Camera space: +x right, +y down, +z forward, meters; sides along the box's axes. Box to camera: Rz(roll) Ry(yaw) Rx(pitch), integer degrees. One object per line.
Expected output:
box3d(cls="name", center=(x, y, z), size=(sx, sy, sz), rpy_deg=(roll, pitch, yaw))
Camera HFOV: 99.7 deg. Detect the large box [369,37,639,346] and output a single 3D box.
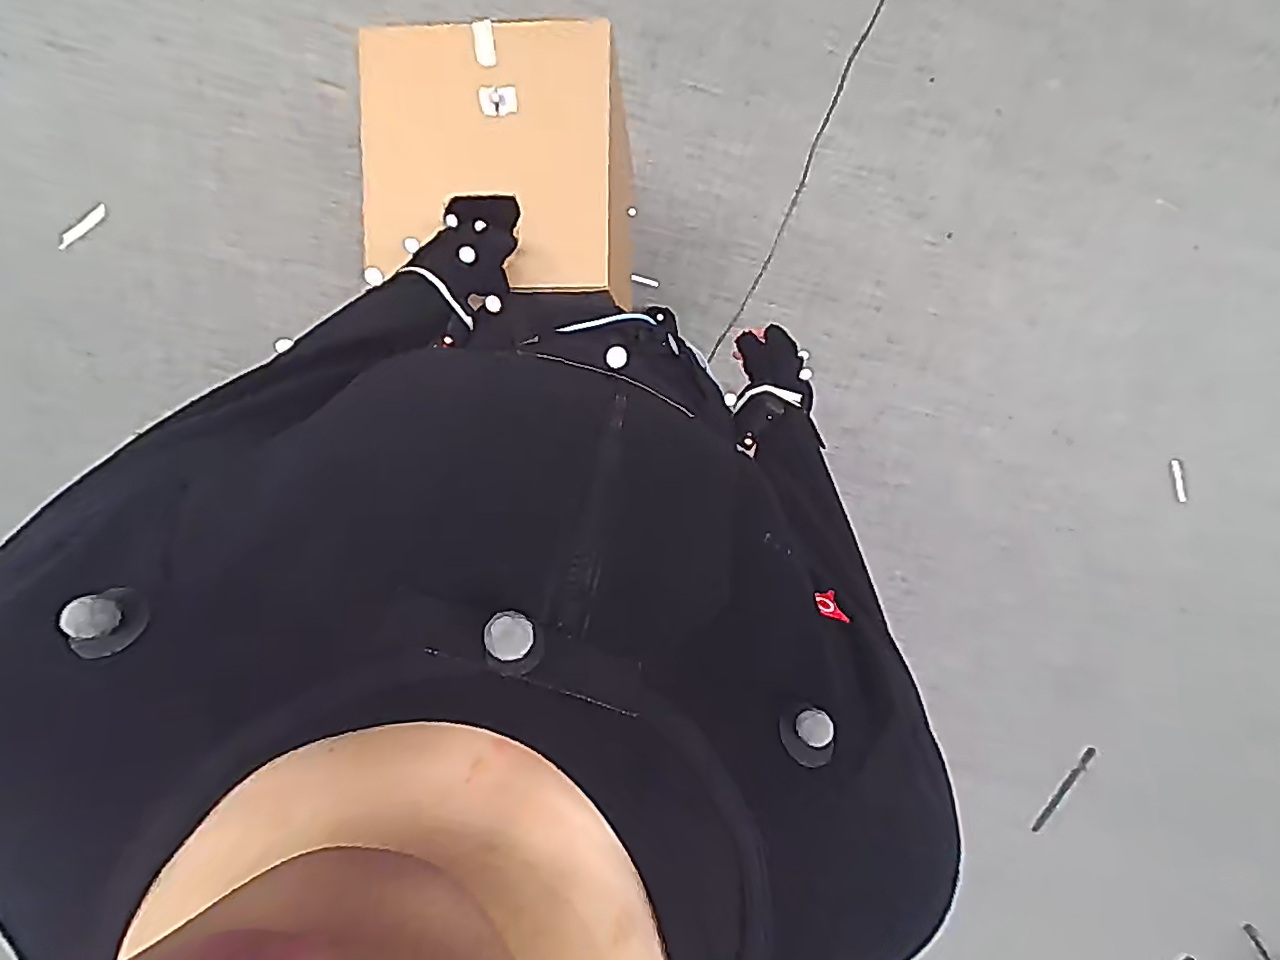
box3d(cls="large box", center=(-0.172, -0.404, 0.866), size=(0.320, 0.408, 0.320), rpy_deg=(1, 96, 4))
